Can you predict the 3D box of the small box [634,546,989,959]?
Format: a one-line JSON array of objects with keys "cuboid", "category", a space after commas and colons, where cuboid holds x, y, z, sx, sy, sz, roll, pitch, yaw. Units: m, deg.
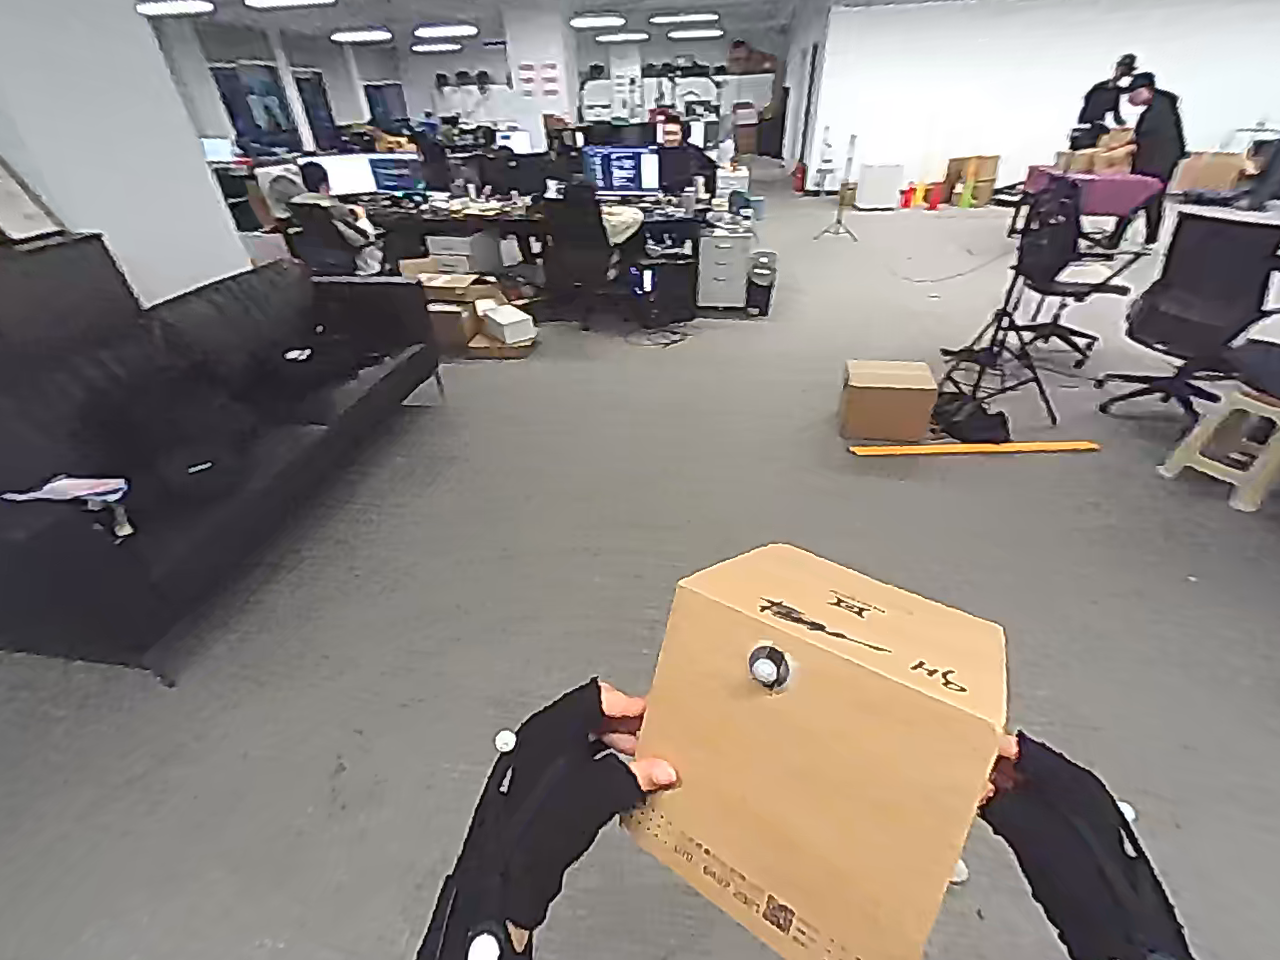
[{"cuboid": [0.115, 0.158, 0.363, 0.168, 0.176, 0.179, 17, 10, 32], "category": "small box"}]
